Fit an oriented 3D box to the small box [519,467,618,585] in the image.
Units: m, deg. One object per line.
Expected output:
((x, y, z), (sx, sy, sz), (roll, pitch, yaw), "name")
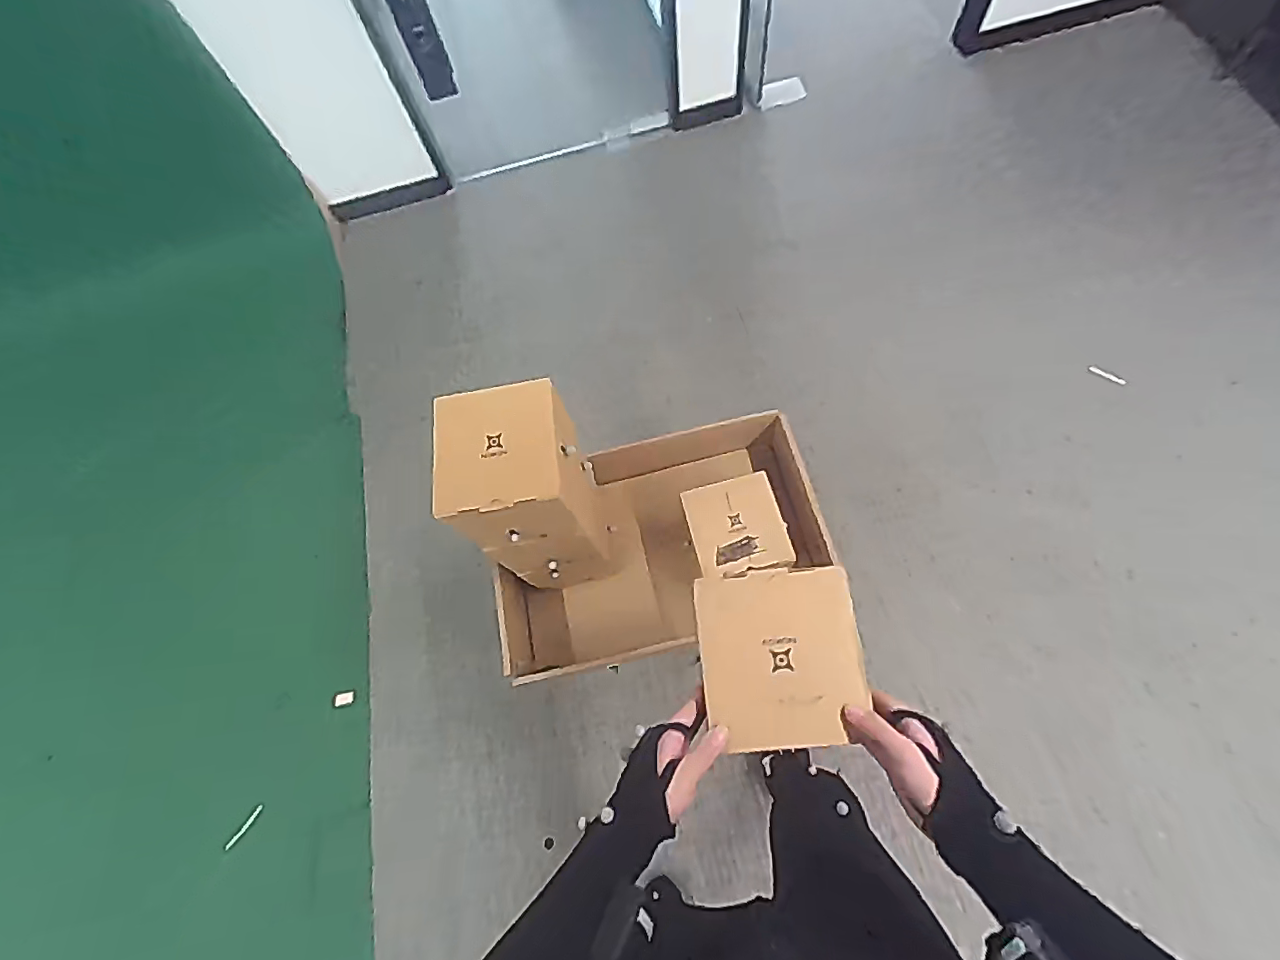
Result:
((-0.144, 0.097, 1.080), (0.168, 0.176, 0.179), (-12, 68, 2), "small box")

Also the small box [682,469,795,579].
((0.183, 0.104, 1.036), (0.168, 0.176, 0.179), (-14, 67, 1), "small box")

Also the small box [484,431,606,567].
((-0.160, 0.036, 0.928), (0.168, 0.176, 0.179), (-10, 68, 3), "small box")

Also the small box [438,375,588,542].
((-0.174, -0.024, 0.778), (0.168, 0.176, 0.179), (-9, 69, 3), "small box")

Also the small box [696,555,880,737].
((0.156, 0.193, 0.636), (0.168, 0.176, 0.179), (-4, 73, 3), "small box")
